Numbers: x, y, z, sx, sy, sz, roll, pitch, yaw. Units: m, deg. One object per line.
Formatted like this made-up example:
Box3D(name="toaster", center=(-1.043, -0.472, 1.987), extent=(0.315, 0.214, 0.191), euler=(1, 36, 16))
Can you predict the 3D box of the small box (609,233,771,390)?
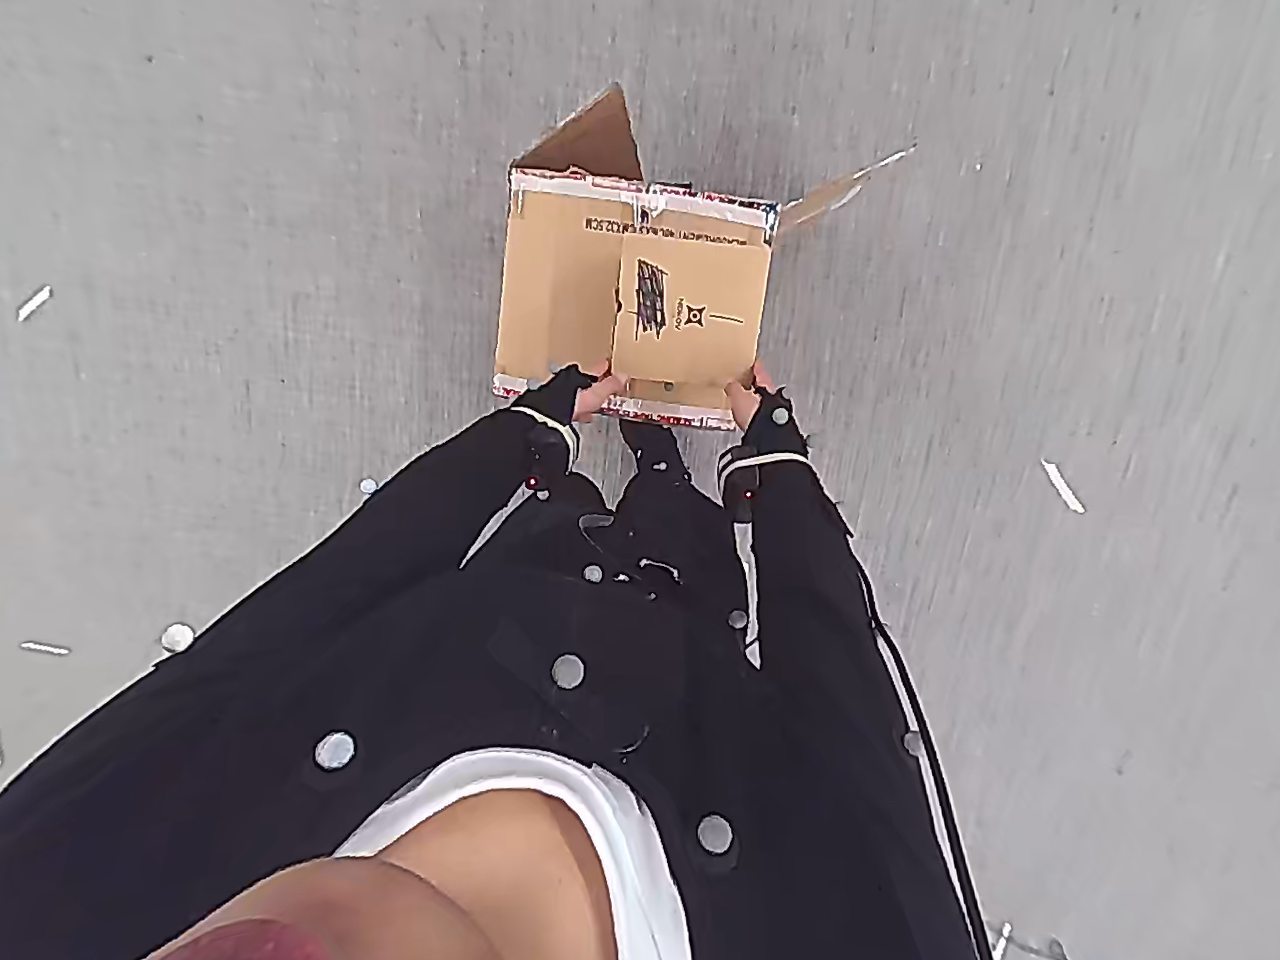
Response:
Box3D(name="small box", center=(0.060, -0.216, 0.720), extent=(0.179, 0.176, 0.168), euler=(7, 104, 1))
